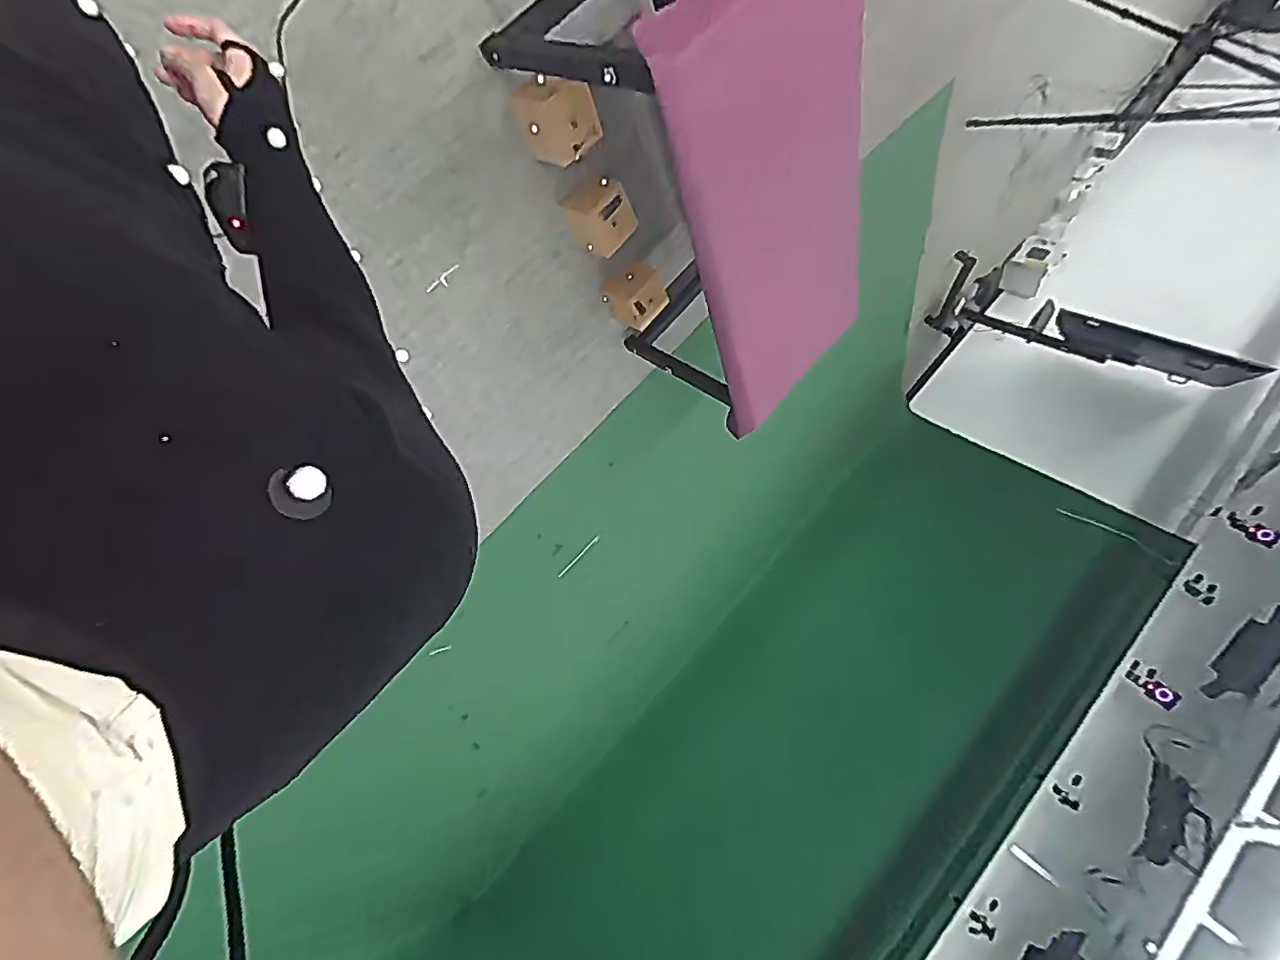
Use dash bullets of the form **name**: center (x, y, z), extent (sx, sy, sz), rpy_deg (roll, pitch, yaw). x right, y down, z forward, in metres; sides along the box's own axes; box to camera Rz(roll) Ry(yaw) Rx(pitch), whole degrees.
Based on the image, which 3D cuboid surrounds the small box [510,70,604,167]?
- **small box**: center (-0.239, -1.039, 1.548), extent (0.168, 0.176, 0.179), rpy_deg (-46, 147, -13)

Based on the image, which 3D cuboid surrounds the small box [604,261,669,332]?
- **small box**: center (-0.021, -0.721, 2.118), extent (0.179, 0.176, 0.168), rpy_deg (-49, 148, -8)
